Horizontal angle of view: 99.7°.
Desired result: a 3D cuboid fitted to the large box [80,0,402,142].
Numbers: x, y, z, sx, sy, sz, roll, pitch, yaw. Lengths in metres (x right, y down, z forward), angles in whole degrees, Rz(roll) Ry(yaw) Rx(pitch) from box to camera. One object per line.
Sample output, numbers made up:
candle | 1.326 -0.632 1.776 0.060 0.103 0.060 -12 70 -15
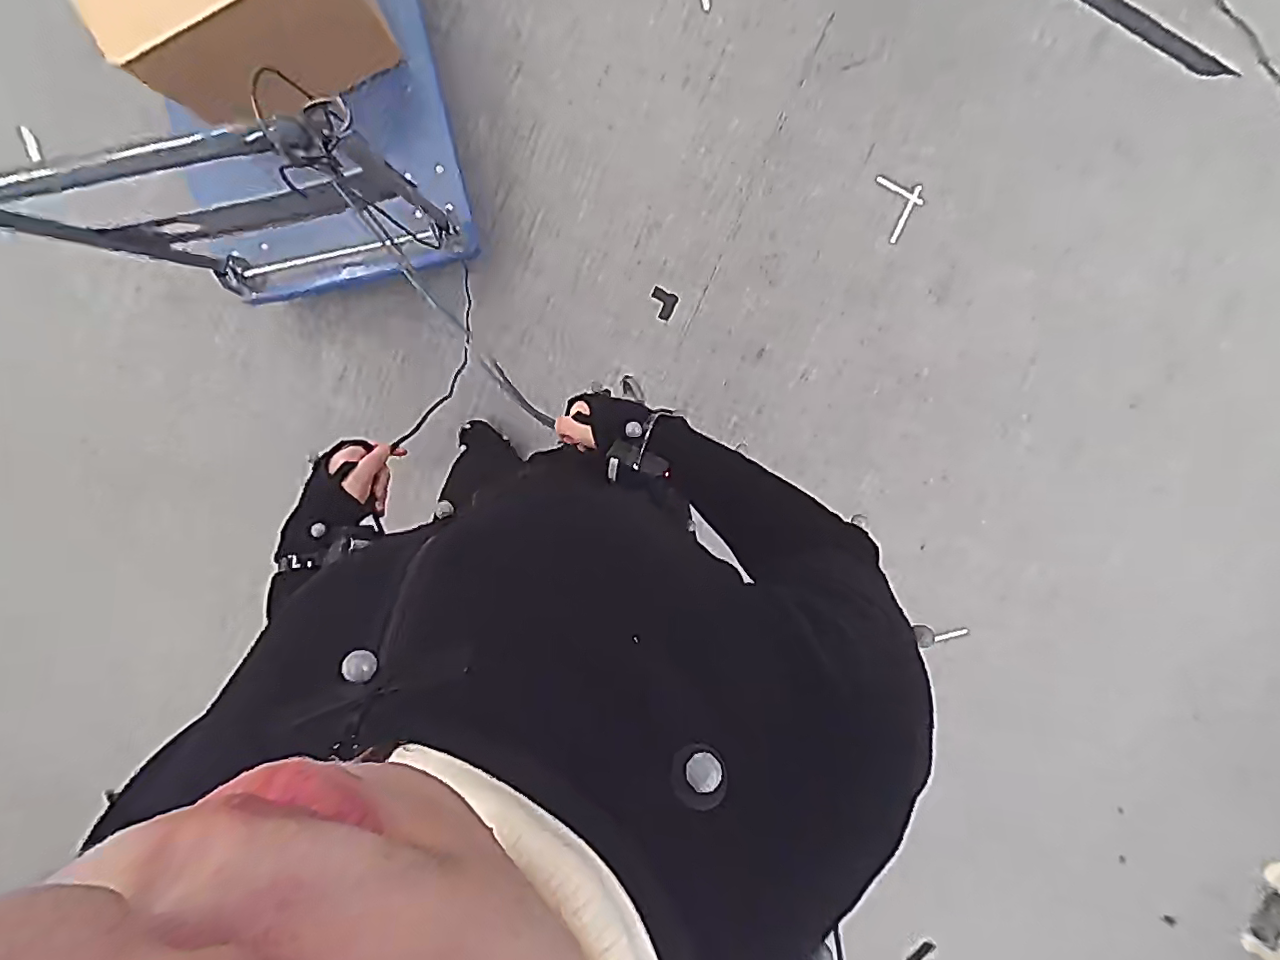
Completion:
large box | -0.733 -0.913 0.979 0.408 0.320 0.320 -26 101 2
